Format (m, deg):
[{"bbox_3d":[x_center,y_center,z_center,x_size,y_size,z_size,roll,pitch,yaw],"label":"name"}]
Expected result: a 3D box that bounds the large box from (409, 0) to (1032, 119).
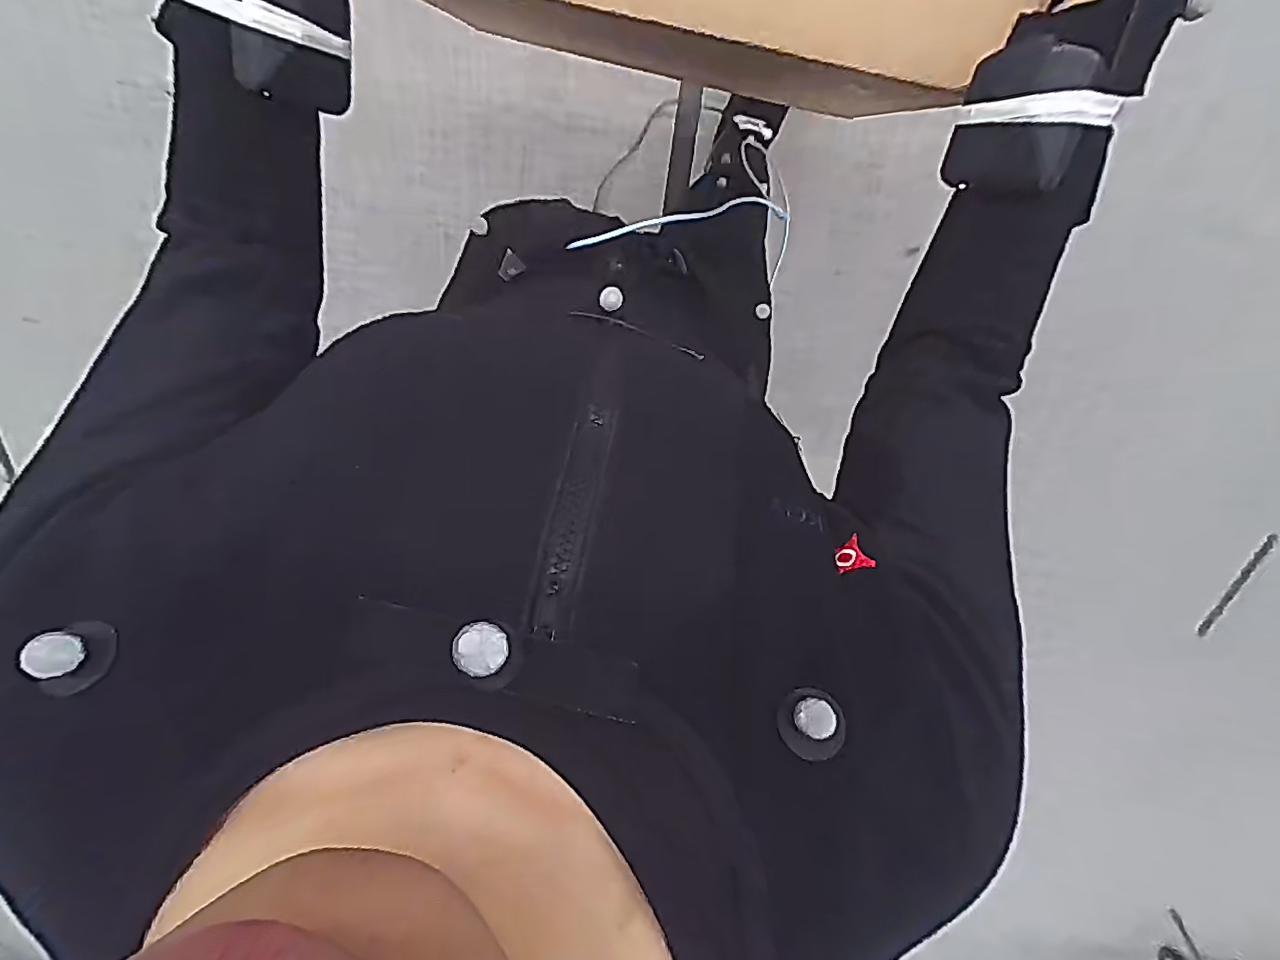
[{"bbox_3d":[0.048,-0.467,0.364,0.408,0.320,0.320,10,123,-4],"label":"large box"}]
